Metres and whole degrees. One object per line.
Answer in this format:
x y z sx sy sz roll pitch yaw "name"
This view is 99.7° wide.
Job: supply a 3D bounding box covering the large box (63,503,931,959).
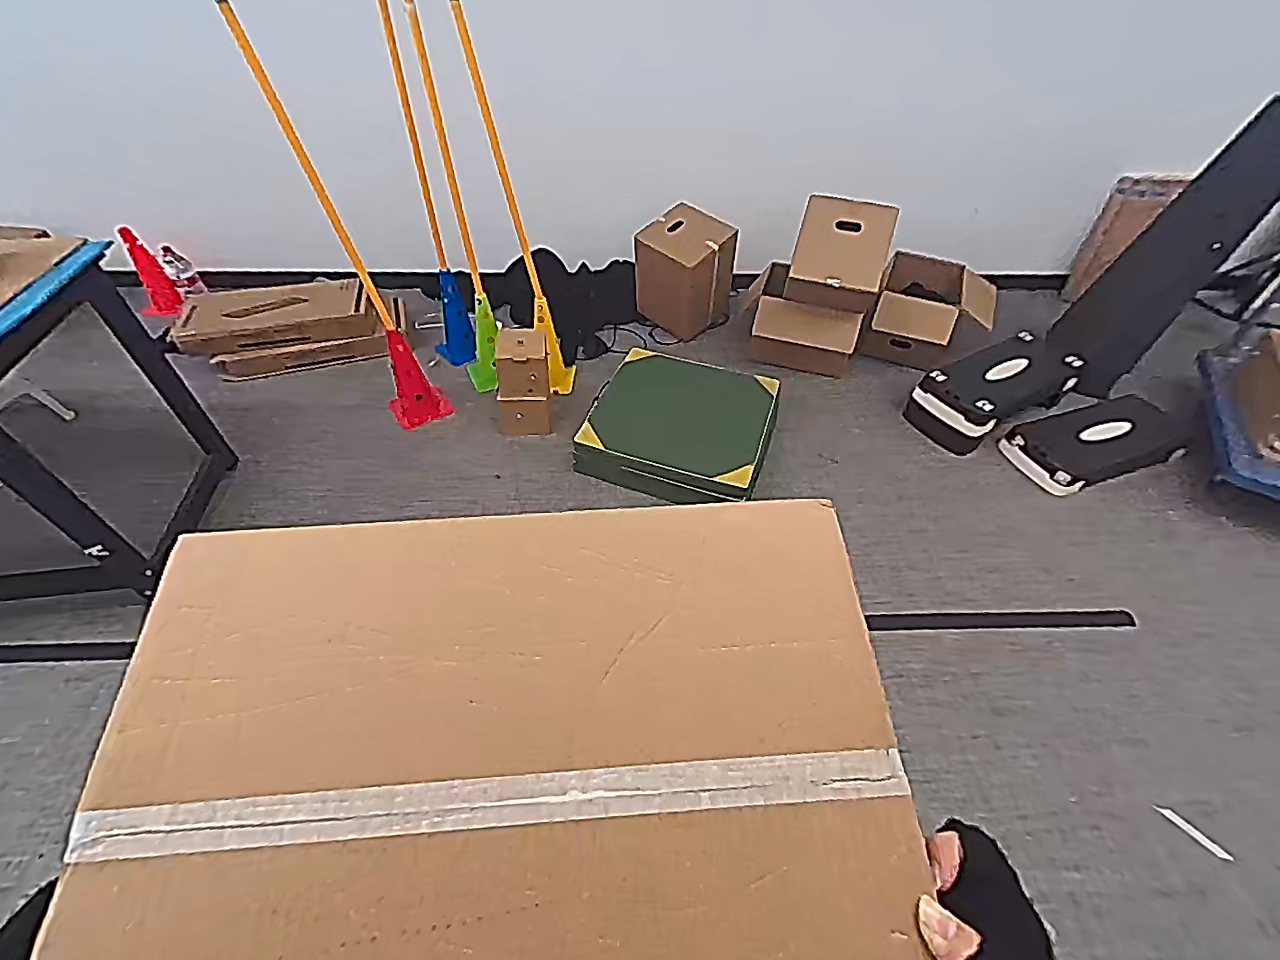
-0.070 0.233 0.411 0.408 0.320 0.320 -3 62 -2 "large box"
